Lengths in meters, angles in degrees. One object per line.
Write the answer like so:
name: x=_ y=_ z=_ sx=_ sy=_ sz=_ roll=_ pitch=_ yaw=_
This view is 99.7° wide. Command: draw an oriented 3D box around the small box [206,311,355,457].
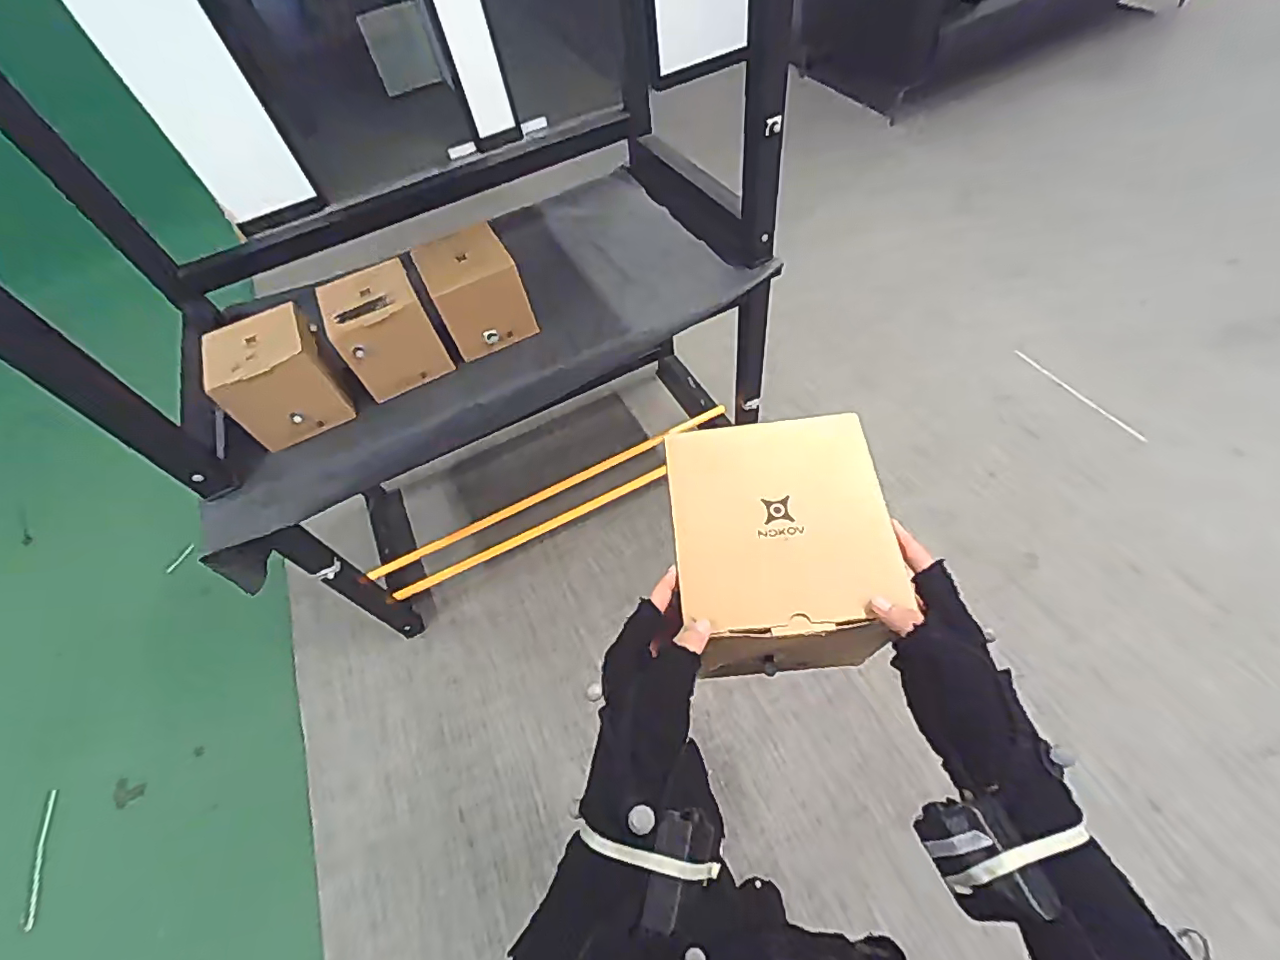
small box: x=-0.665 y=-0.176 z=1.011 sx=0.168 sy=0.176 sz=0.179 roll=-27 pitch=56 yaw=-11
